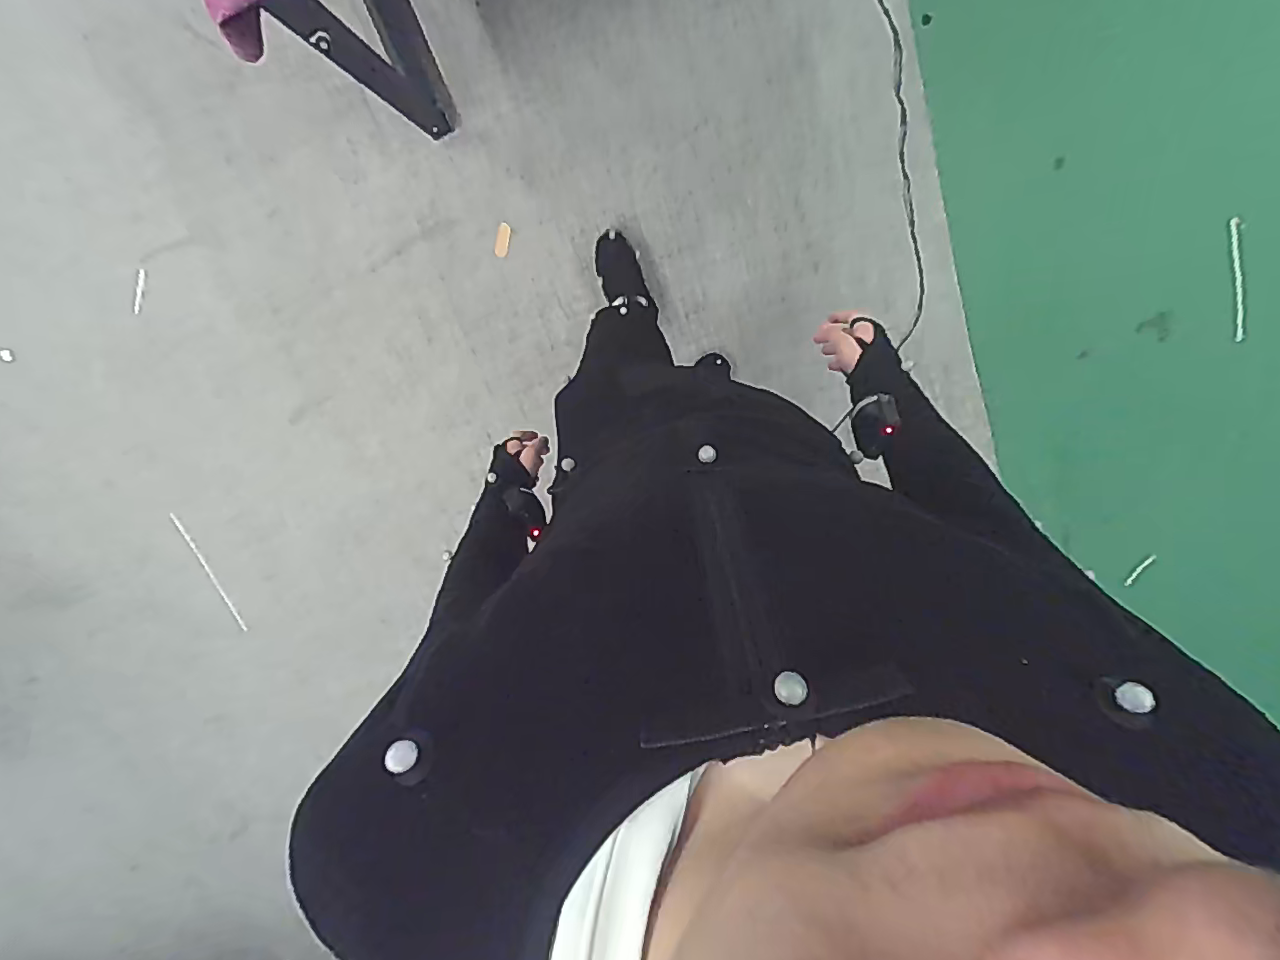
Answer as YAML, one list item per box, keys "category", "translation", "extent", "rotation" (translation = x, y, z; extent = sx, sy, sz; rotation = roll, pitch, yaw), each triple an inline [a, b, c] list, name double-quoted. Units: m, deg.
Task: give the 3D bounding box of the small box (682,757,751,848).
- category: "small box"
  translation: [0.232, 0.983, 1.661]
  extent: [0.179, 0.176, 0.168]
  rotation: [-13, 105, 7]

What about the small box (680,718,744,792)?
- category: "small box"
  translation: [0.240, 0.934, 1.817]
  extent: [0.179, 0.176, 0.168]
  rotation: [-15, 105, 8]
